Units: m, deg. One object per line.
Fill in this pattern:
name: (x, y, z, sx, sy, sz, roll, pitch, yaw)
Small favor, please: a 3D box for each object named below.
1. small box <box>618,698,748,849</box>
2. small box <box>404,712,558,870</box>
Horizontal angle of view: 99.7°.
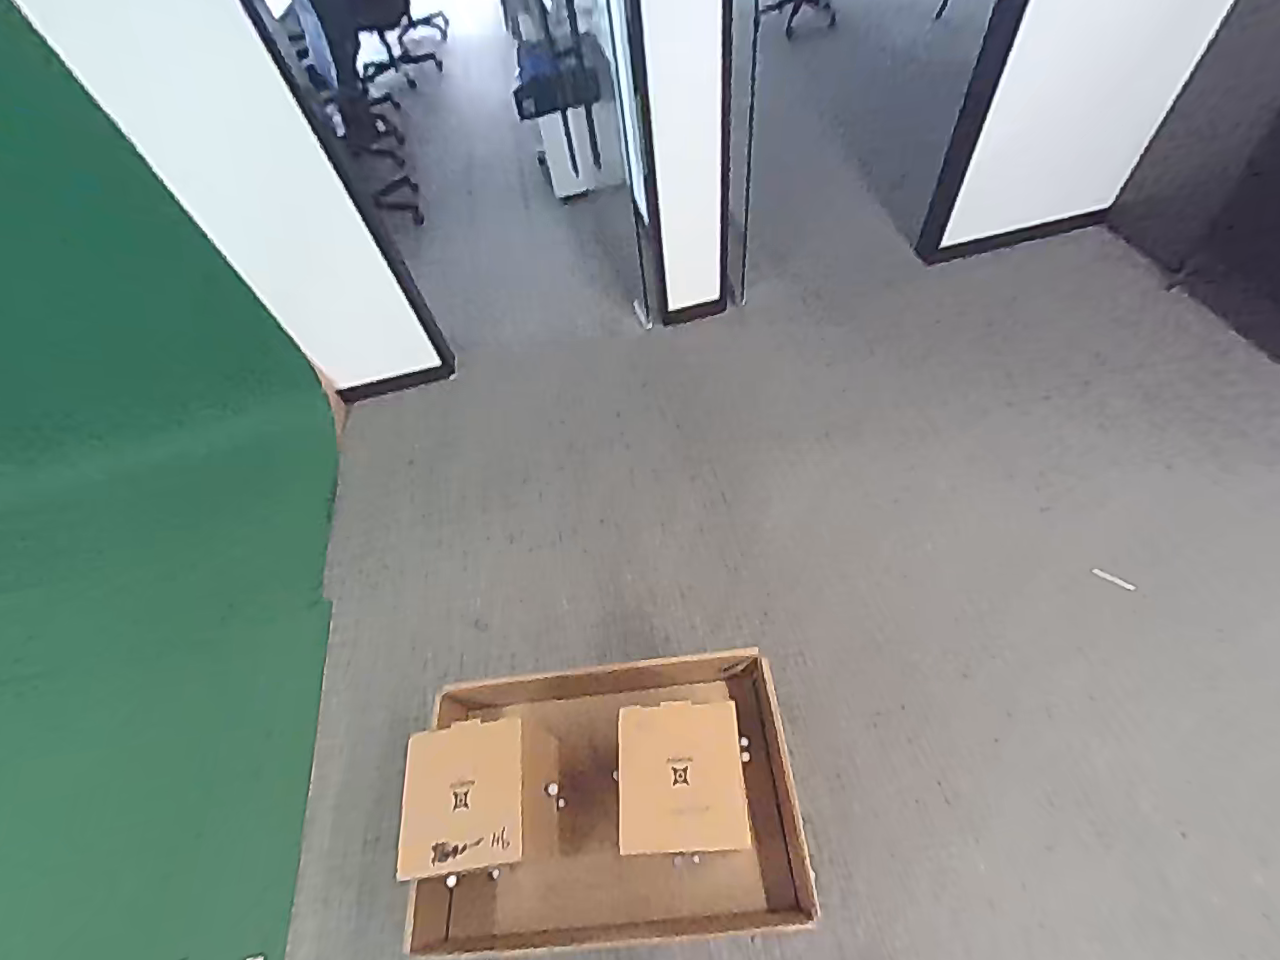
small box: (0.062, 0.431, 0.789, 0.168, 0.176, 0.179, -6, 56, 6)
small box: (-0.226, 0.469, 0.811, 0.168, 0.176, 0.179, -12, 55, 3)
